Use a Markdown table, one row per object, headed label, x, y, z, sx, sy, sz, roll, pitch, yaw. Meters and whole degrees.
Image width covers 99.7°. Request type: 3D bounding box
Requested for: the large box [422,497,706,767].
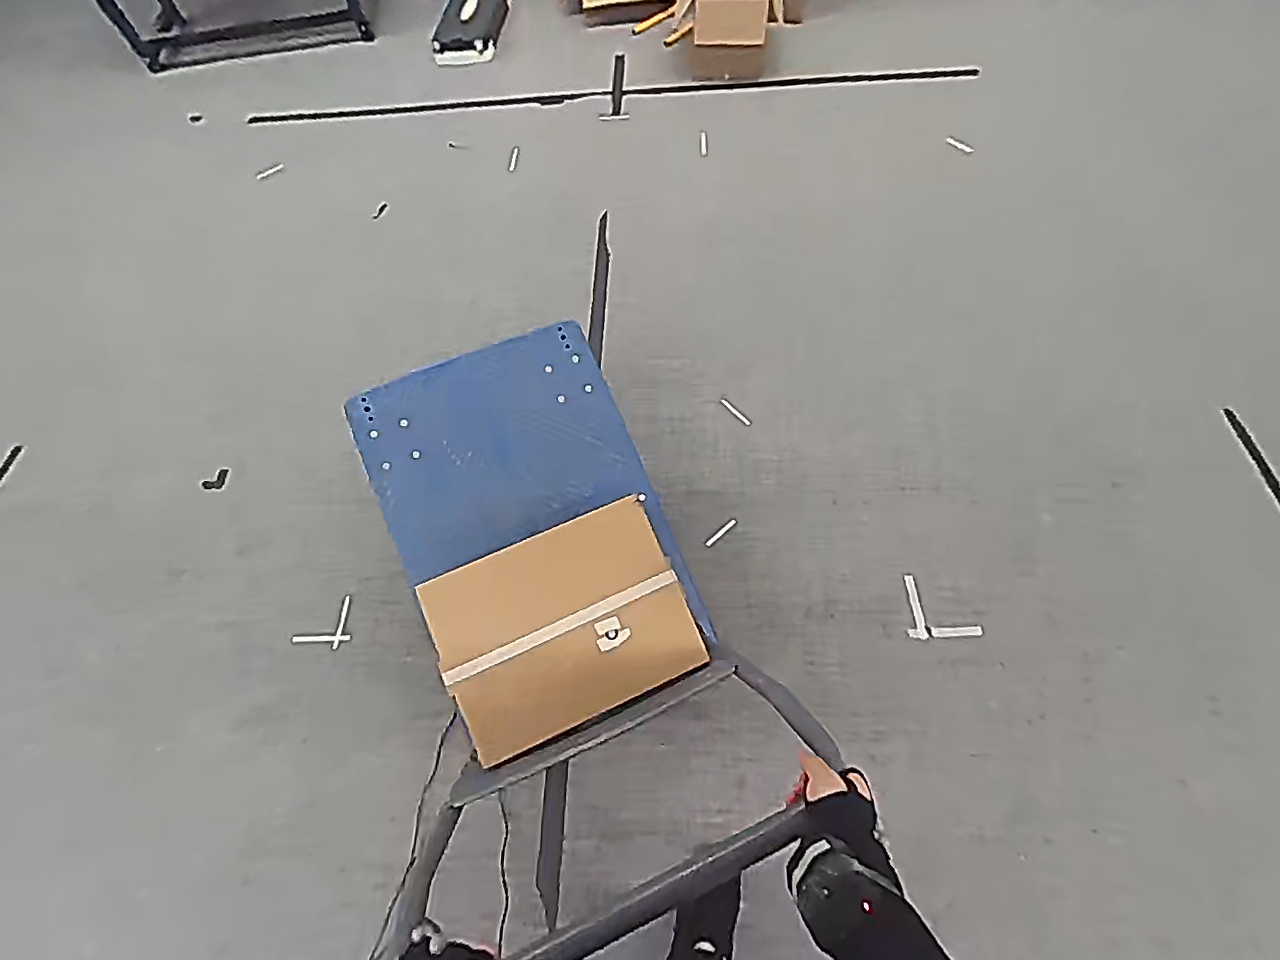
| label | x | y | z | sx | sy | sz | roll | pitch | yaw |
| --- | --- | --- | --- | --- | --- | --- | --- | --- | --- |
| large box | -0.141 | 0.273 | 1.058 | 0.408 | 0.320 | 0.320 | -24 | 84 | -10 |
